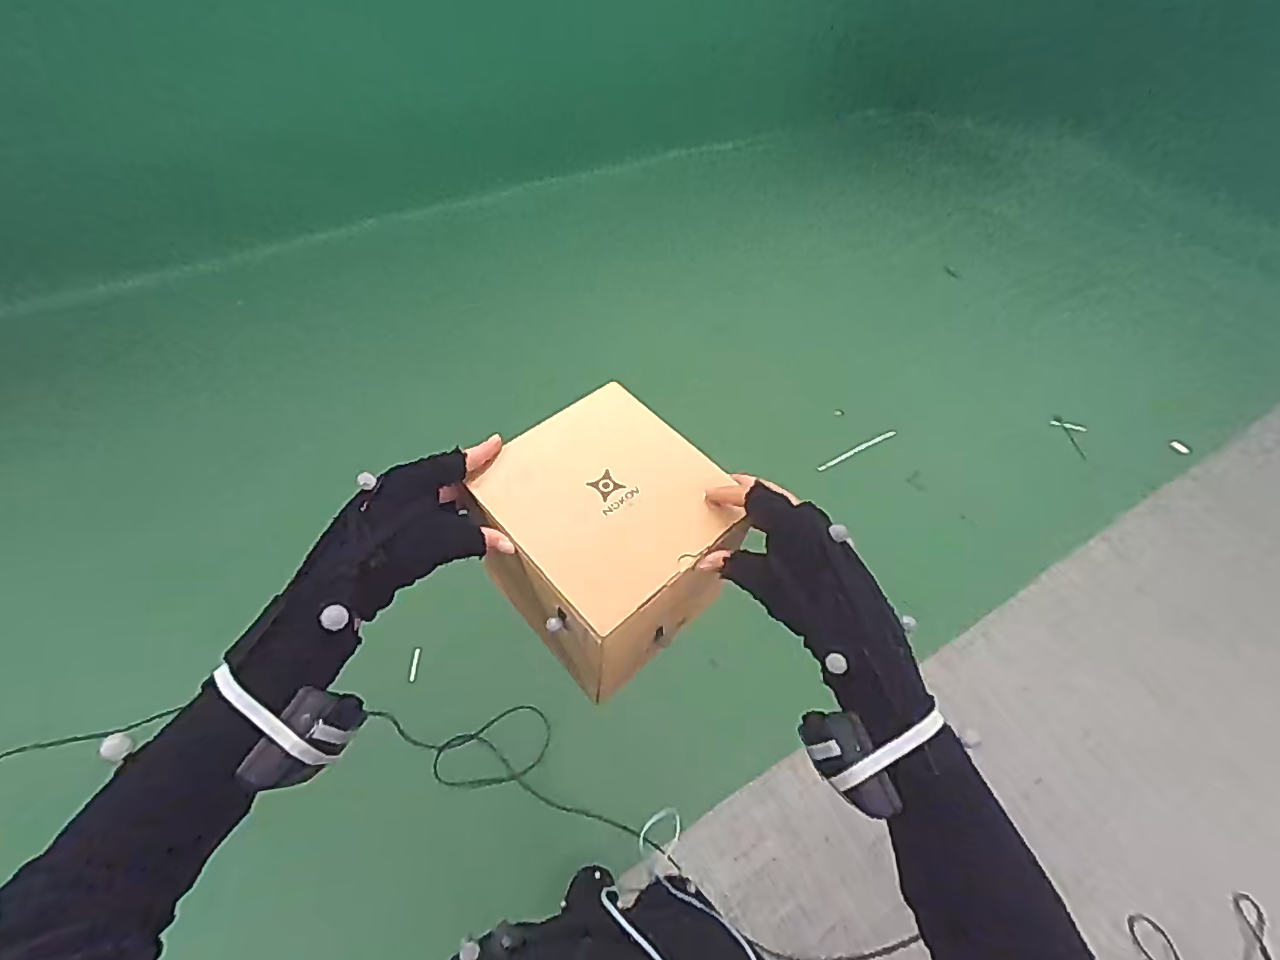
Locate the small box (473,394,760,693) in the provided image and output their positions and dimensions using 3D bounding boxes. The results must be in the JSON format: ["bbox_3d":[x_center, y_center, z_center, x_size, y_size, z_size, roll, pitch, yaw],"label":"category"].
[{"bbox_3d":[-0.027,0.061,0.495,0.168,0.176,0.179,-35,65,-27],"label":"small box"}]
